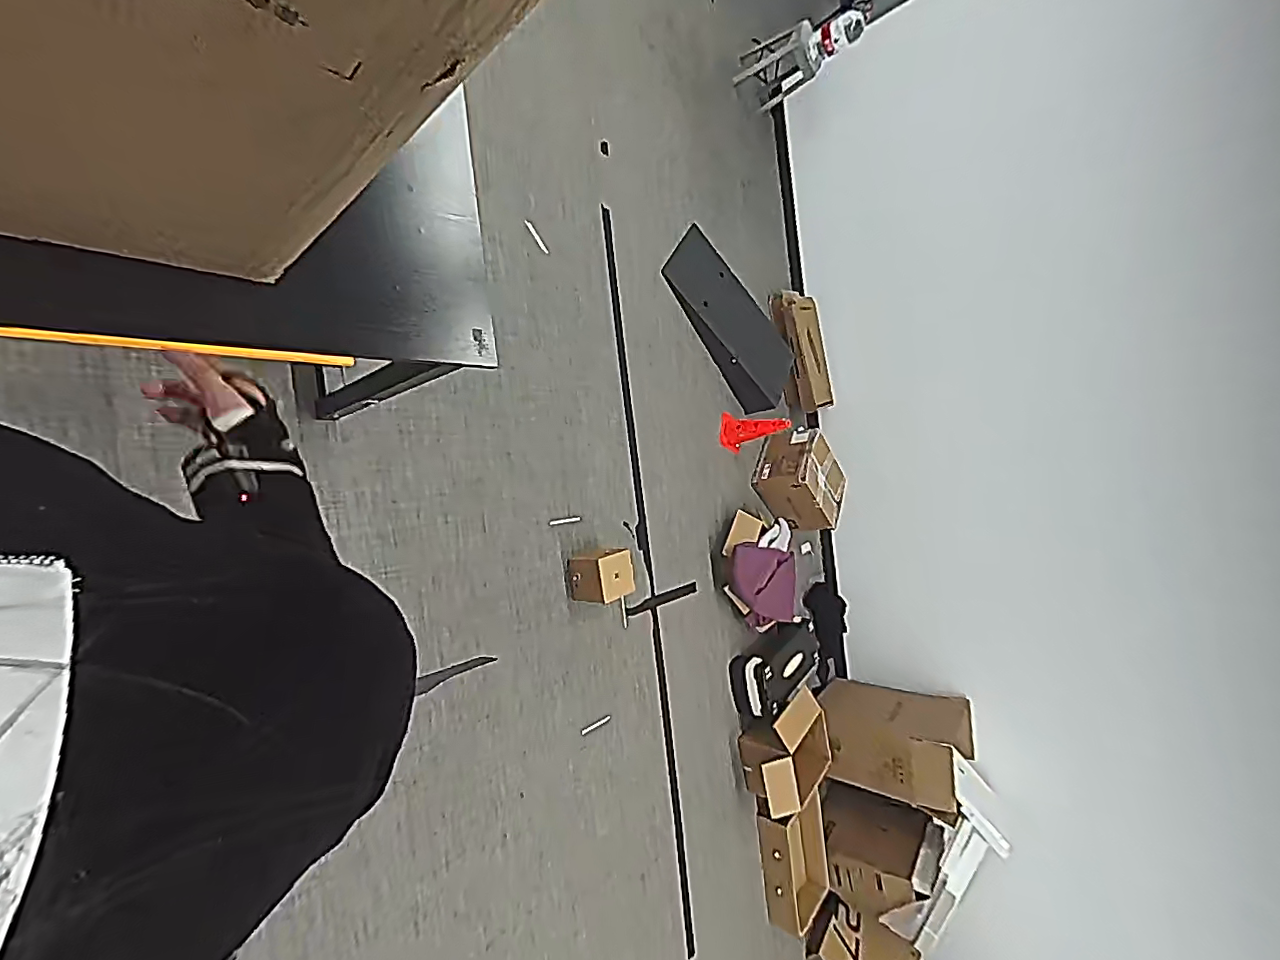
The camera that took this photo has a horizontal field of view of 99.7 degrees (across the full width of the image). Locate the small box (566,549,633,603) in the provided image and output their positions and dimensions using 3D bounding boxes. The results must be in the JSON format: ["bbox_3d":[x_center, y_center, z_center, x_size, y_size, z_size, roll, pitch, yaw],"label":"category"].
[{"bbox_3d":[-0.153,0.359,2.053,0.179,0.176,0.168,-12,93,-48],"label":"small box"}]
